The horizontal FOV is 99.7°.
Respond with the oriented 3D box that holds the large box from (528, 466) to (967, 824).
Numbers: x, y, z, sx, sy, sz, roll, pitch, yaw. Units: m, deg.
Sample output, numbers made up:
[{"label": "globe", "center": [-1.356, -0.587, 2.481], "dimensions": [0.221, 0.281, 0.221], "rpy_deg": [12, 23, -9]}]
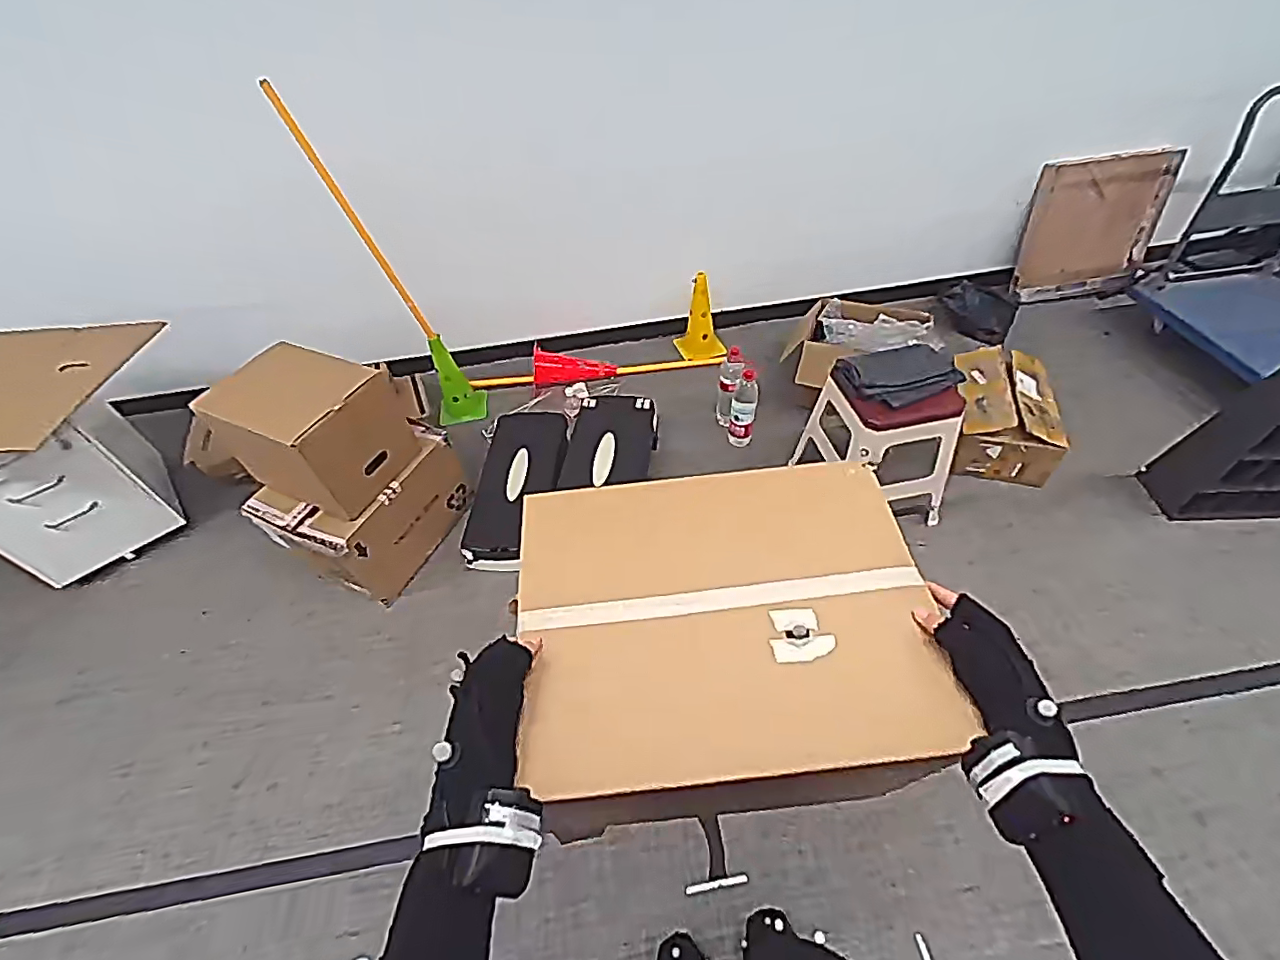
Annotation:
[{"label": "large box", "center": [0.088, 0.216, 0.682], "dimensions": [0.408, 0.320, 0.320], "rpy_deg": [-7, 54, -1]}]
